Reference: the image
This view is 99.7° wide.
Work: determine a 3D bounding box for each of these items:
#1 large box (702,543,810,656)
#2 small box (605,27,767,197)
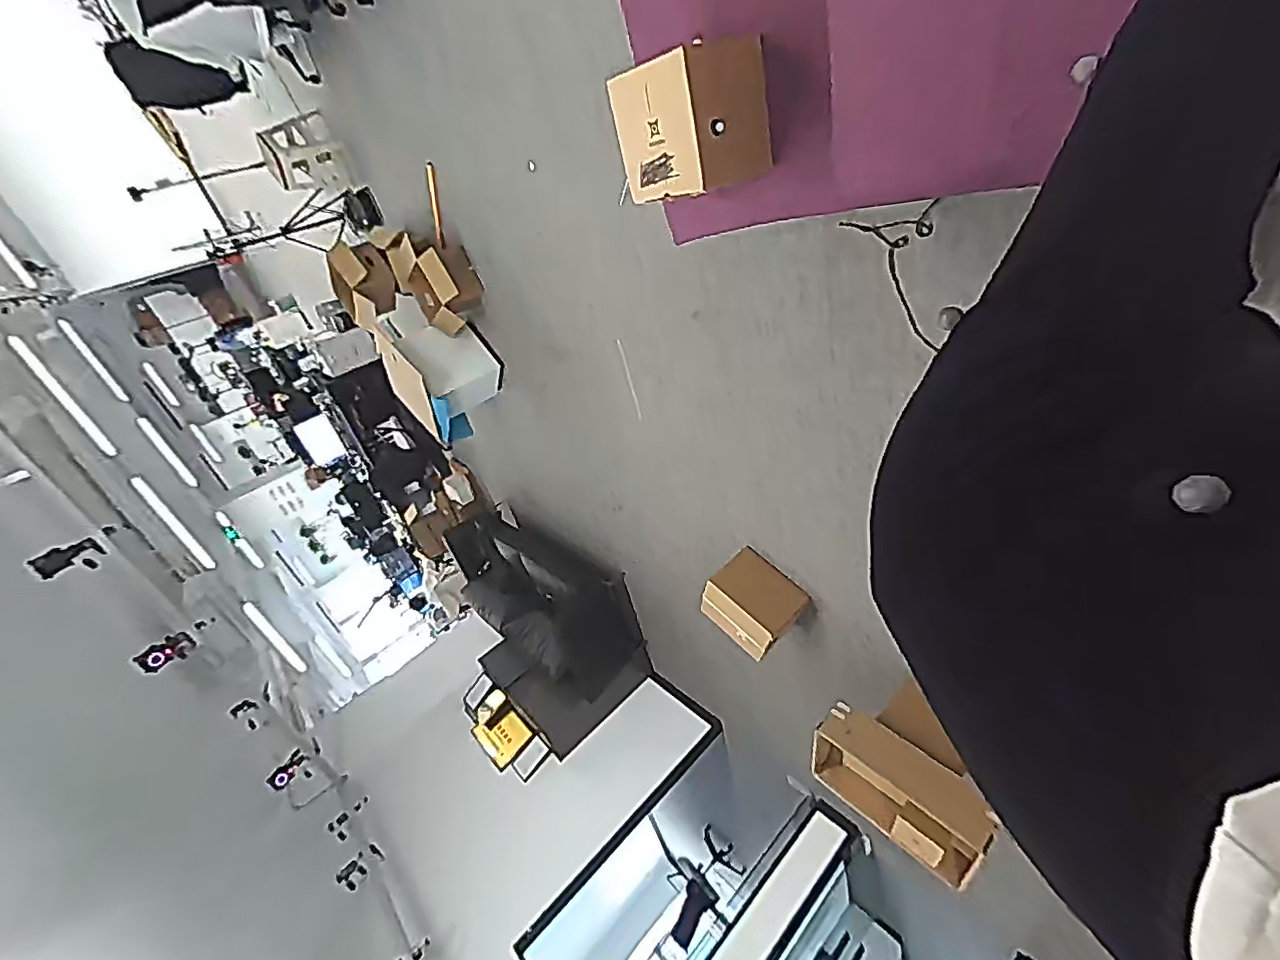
[{"bbox_3d":[0.577,0.601,2.748,0.408,0.320,0.320,38,148,26],"label":"large box"},{"bbox_3d":[0.078,-0.560,0.834,0.168,0.176,0.179,21,136,45],"label":"small box"}]
